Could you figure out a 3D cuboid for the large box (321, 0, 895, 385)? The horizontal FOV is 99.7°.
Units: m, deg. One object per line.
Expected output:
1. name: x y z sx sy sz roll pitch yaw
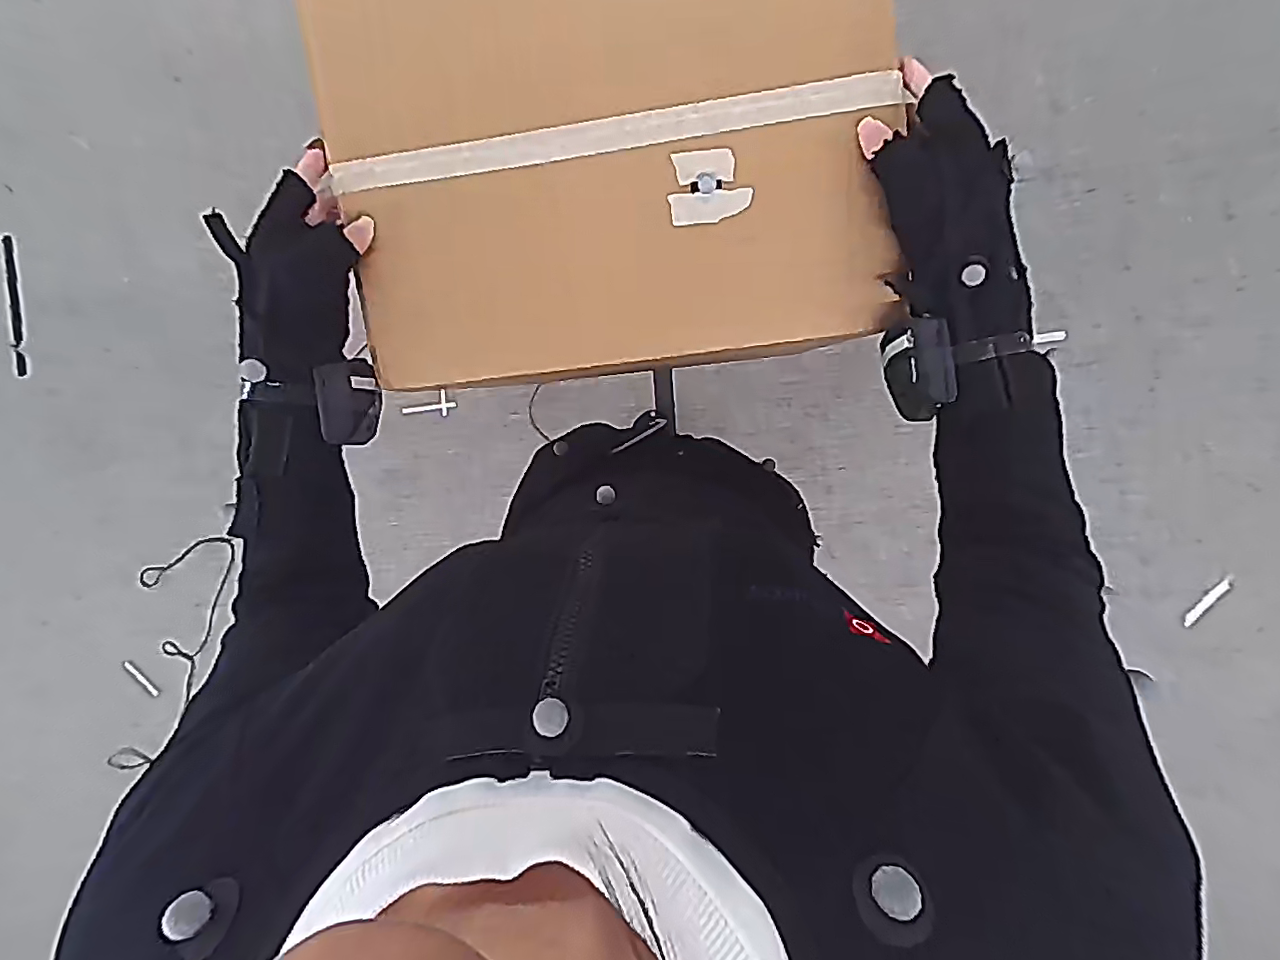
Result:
1. large box: -0.014 -0.277 0.546 0.408 0.320 0.320 -6 101 4
